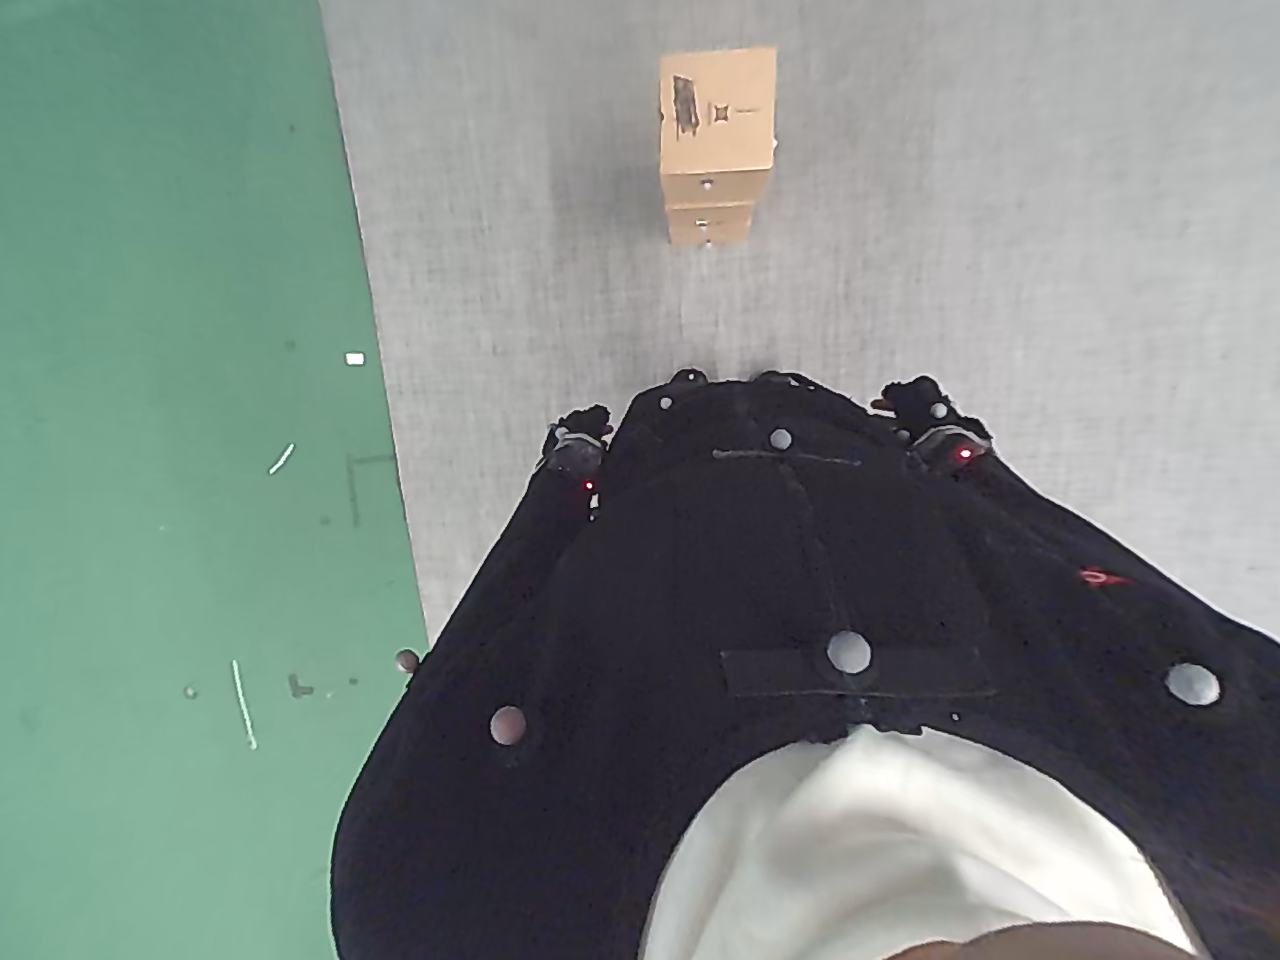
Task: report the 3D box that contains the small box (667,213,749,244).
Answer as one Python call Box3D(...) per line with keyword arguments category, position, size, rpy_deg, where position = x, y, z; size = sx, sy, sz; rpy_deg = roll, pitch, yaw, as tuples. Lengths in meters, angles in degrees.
Box3D(category="small box", position=(0.153, -0.638, 1.220), size=(0.179, 0.176, 0.168), rpy_deg=(1, 102, 6))

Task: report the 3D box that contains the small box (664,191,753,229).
Box3D(category="small box", position=(0.134, -0.610, 1.062), size=(0.168, 0.176, 0.179), rpy_deg=(0, 103, 8))

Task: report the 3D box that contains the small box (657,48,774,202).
Box3D(category="small box", position=(0.123, -0.576, 0.901), size=(0.179, 0.176, 0.168), rpy_deg=(1, 102, 7))
